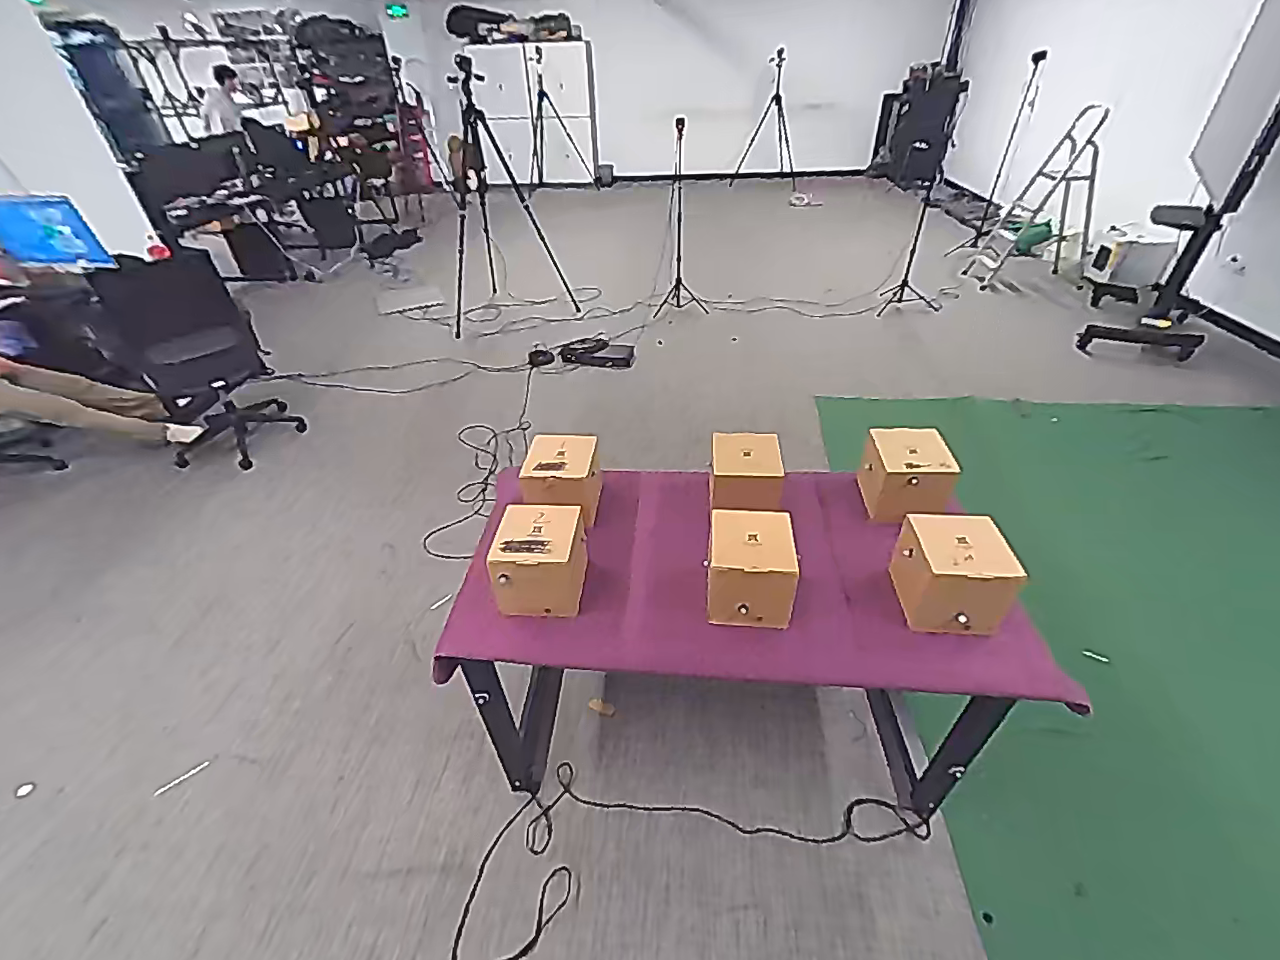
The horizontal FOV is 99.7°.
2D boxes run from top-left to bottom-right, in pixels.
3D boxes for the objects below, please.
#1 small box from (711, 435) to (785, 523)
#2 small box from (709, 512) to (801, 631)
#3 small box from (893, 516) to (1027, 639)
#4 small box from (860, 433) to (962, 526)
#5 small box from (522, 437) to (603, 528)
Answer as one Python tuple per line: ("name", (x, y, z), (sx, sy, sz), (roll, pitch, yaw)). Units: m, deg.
("small box", (0.268, 0.004, 1.373), (0.168, 0.176, 0.179), (2, 40, 6))
("small box", (0.233, 0.190, 1.138), (0.168, 0.176, 0.179), (3, 38, 6))
("small box", (0.636, 0.196, 1.102), (0.168, 0.176, 0.179), (2, 37, 7))
("small box", (0.665, -0.002, 1.354), (0.168, 0.176, 0.179), (0, 40, 6))
("small box", (-0.190, 0.007, 1.387), (0.168, 0.176, 0.179), (2, 39, 5))
